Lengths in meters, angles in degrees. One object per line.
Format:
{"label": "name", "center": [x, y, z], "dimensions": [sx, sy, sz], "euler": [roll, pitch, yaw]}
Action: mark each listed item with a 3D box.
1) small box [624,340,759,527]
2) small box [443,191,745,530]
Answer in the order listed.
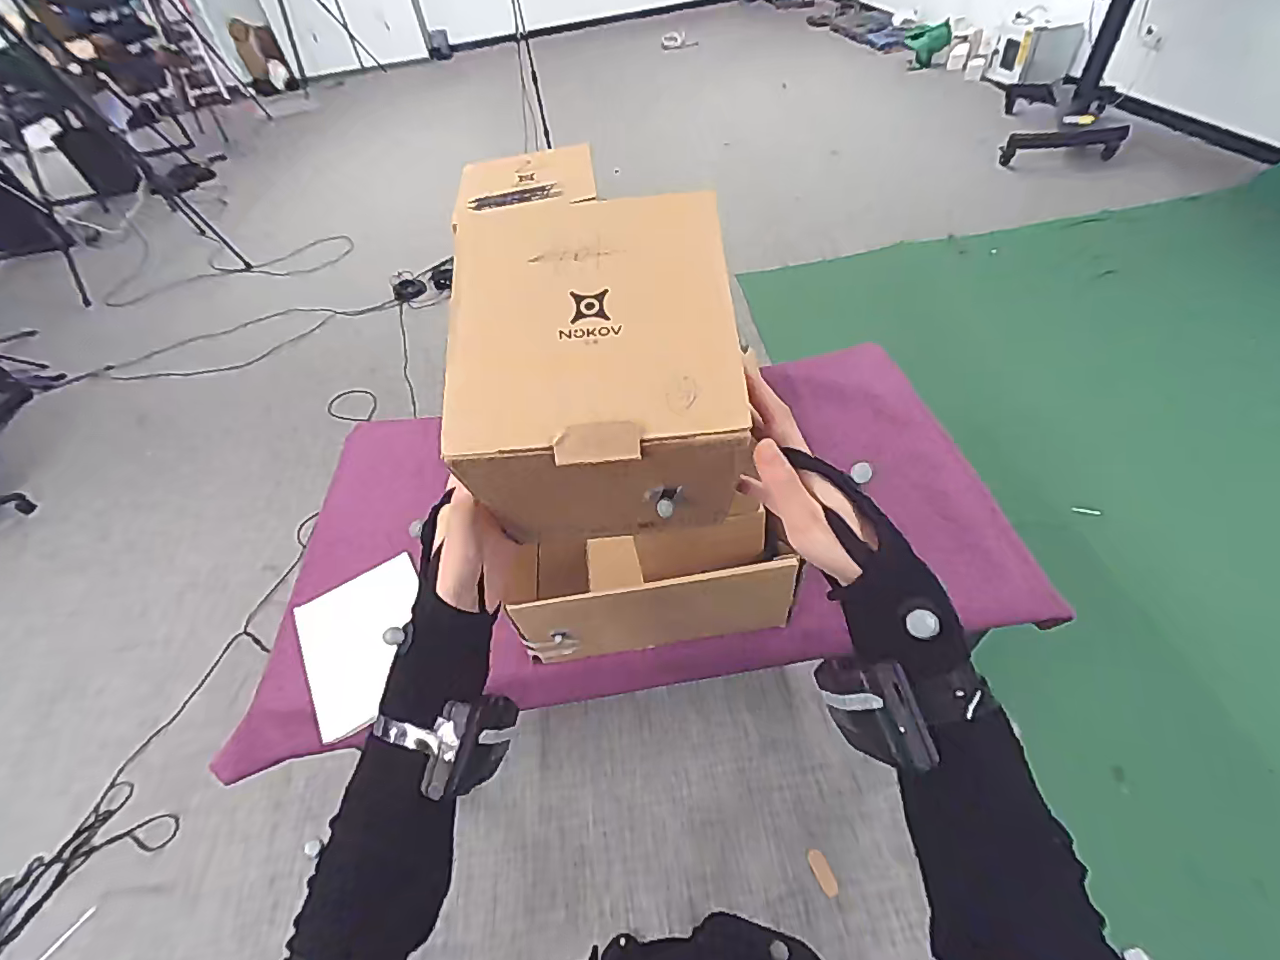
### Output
{"label": "small box", "center": [0.046, -0.061, 0.682], "dimensions": [0.179, 0.176, 0.168], "euler": [-10, 47, 4]}
{"label": "small box", "center": [-0.025, -0.068, 0.389], "dimensions": [0.168, 0.176, 0.179], "euler": [-5, 67, 0]}
